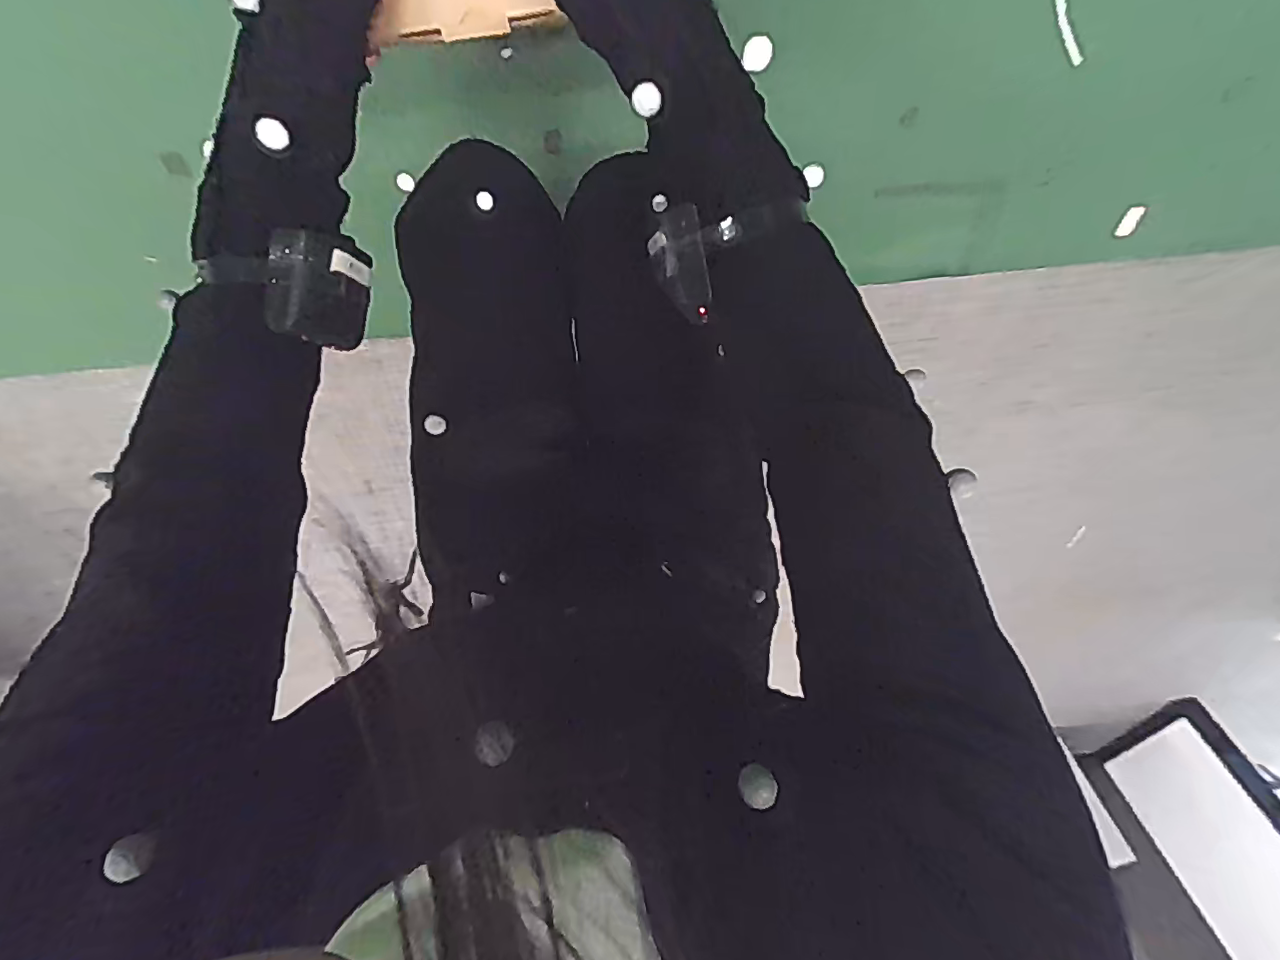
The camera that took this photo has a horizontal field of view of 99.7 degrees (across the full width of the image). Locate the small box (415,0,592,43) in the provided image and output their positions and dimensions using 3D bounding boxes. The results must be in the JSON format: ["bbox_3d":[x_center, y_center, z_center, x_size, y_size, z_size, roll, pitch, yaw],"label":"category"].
[{"bbox_3d":[-0.133,-0.546,0.518,0.168,0.176,0.179,-4,135,-8],"label":"small box"}]
